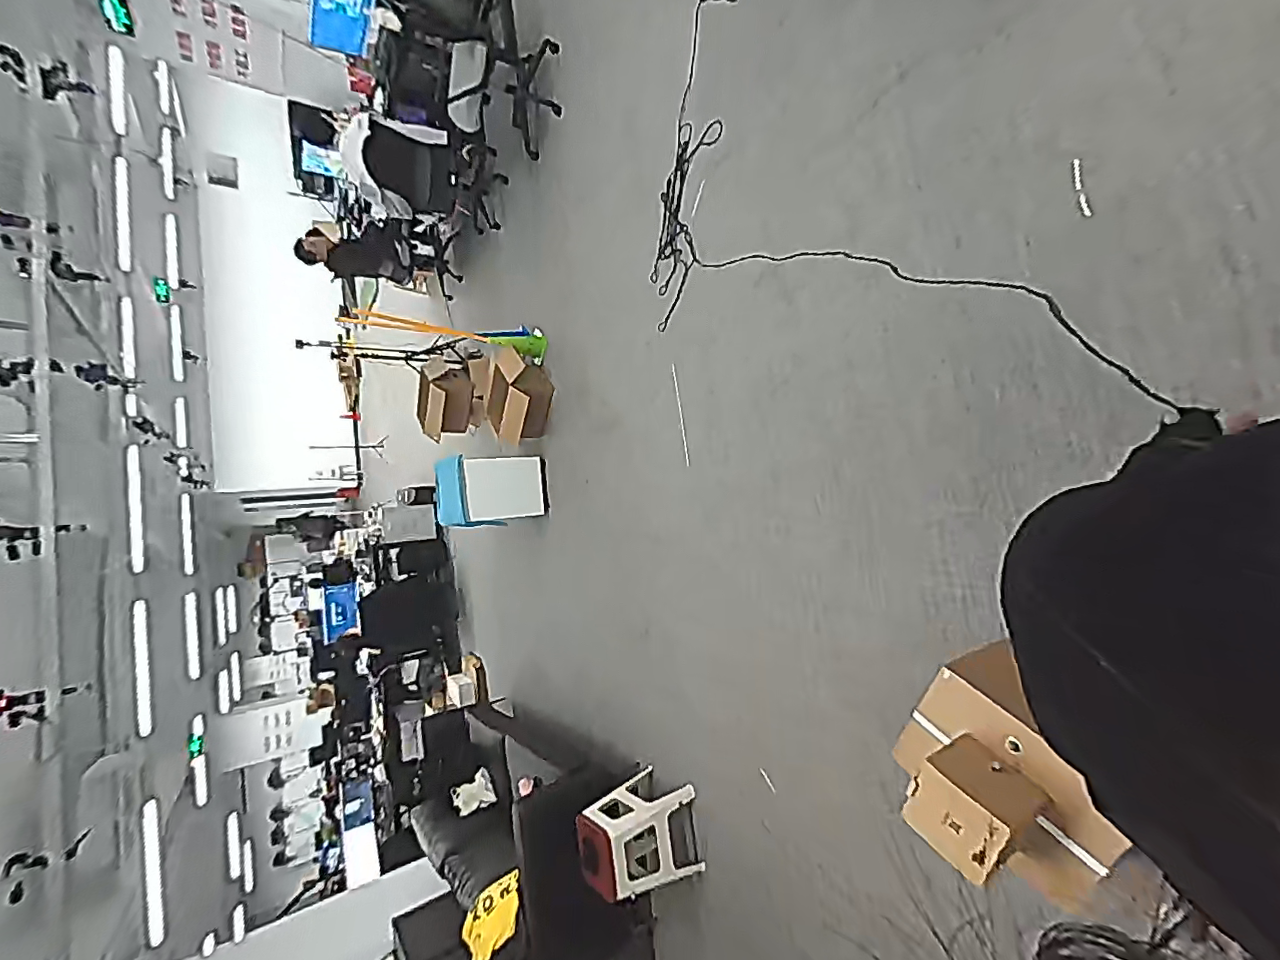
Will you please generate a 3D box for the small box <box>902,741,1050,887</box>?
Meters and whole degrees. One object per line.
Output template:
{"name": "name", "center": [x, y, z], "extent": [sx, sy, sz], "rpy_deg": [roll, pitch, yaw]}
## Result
{"name": "small box", "center": [0.689, 0.672, 1.115], "extent": [0.179, 0.176, 0.168], "rpy_deg": [35, 123, 50]}
